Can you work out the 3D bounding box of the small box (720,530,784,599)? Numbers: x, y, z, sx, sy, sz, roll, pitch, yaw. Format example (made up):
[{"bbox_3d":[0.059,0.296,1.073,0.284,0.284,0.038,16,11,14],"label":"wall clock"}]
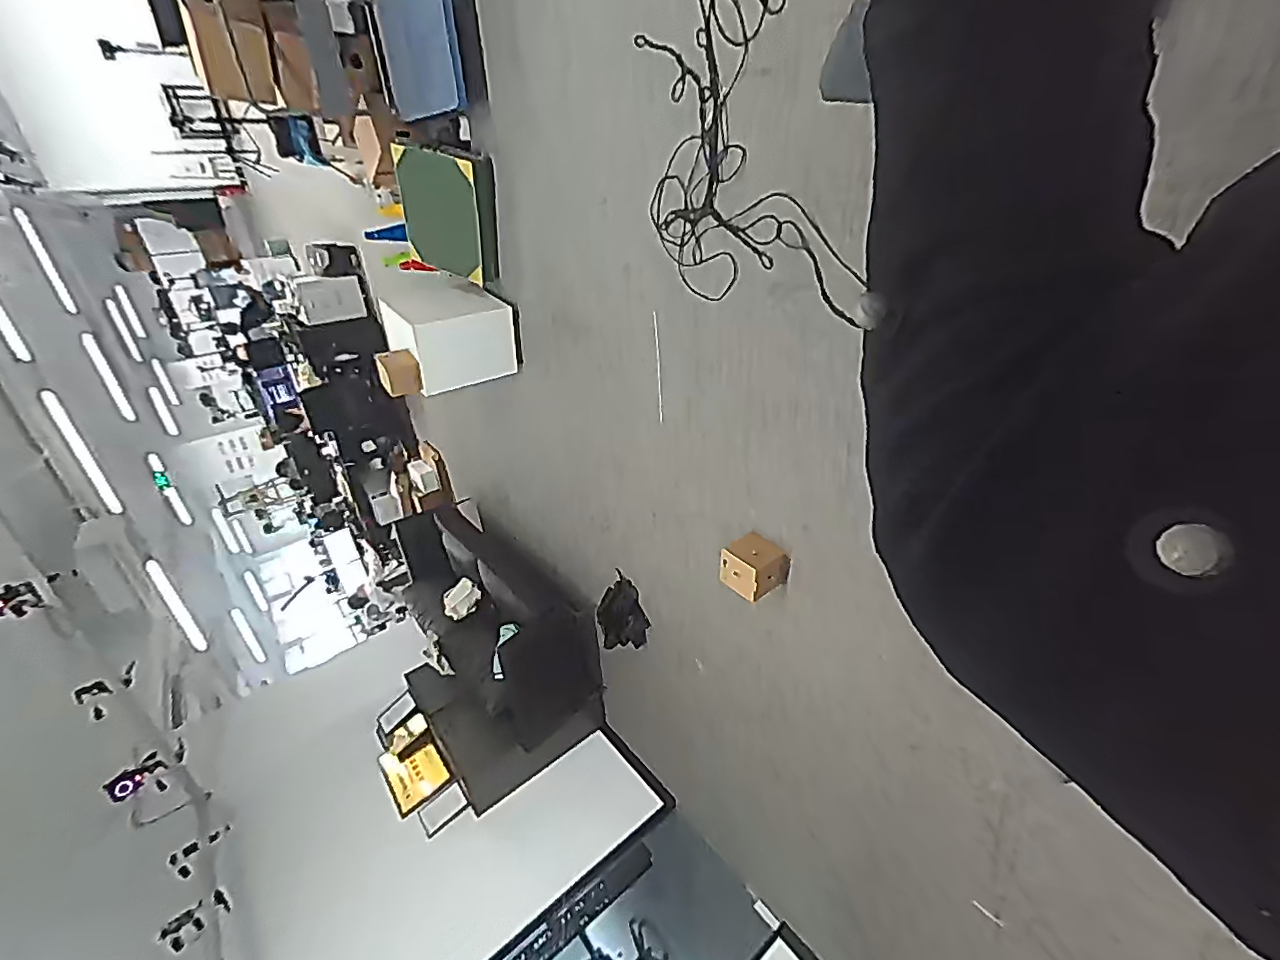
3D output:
[{"bbox_3d":[0.431,0.319,2.086,0.179,0.176,0.168,31,134,41],"label":"small box"}]
